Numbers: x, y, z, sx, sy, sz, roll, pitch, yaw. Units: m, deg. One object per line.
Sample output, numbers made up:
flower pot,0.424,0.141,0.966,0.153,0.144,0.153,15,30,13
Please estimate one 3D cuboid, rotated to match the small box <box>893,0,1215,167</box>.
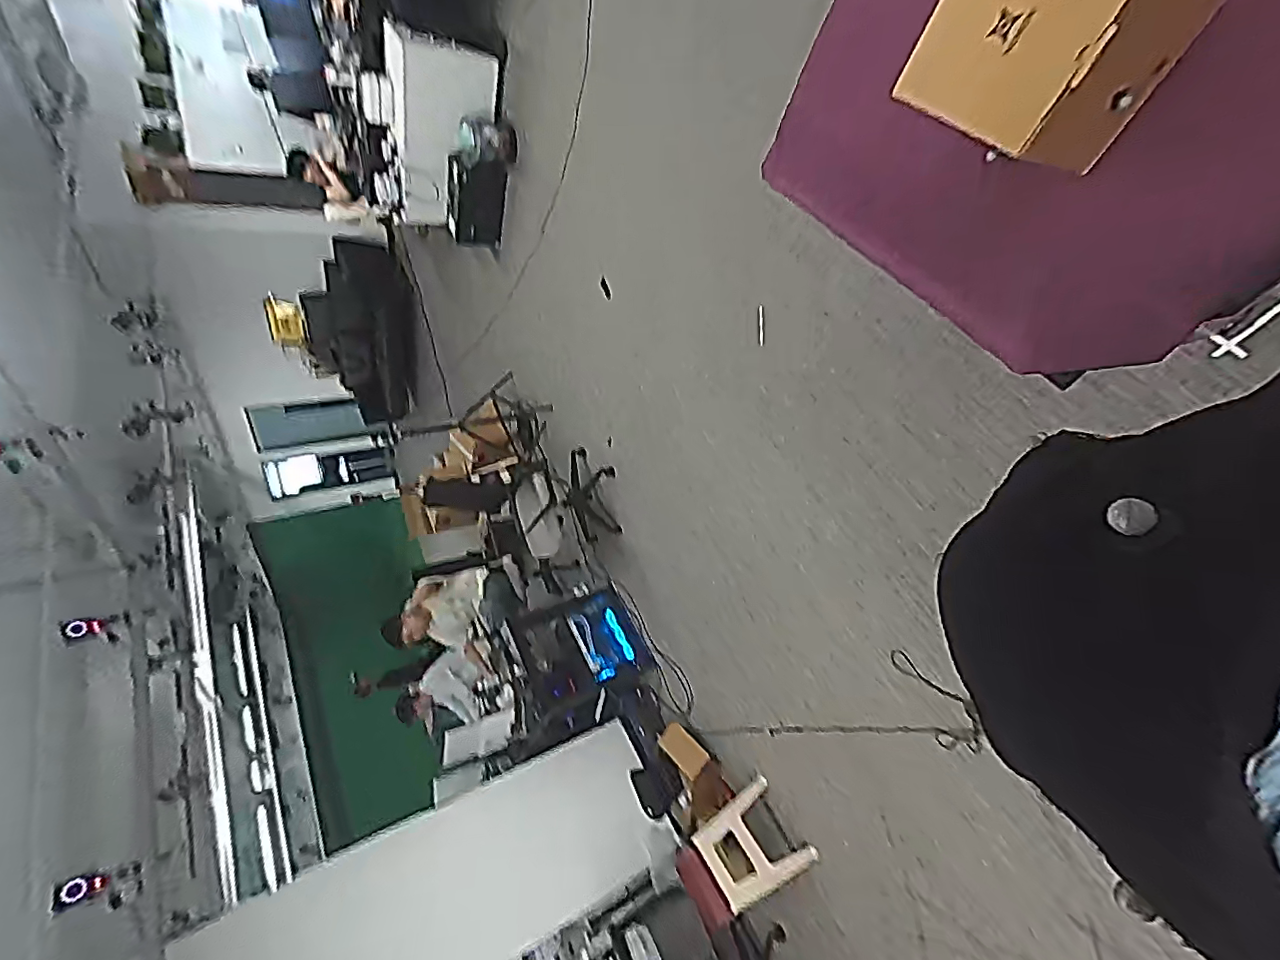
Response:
small box,0.416,-0.447,0.559,0.179,0.176,0.168,55,141,30
